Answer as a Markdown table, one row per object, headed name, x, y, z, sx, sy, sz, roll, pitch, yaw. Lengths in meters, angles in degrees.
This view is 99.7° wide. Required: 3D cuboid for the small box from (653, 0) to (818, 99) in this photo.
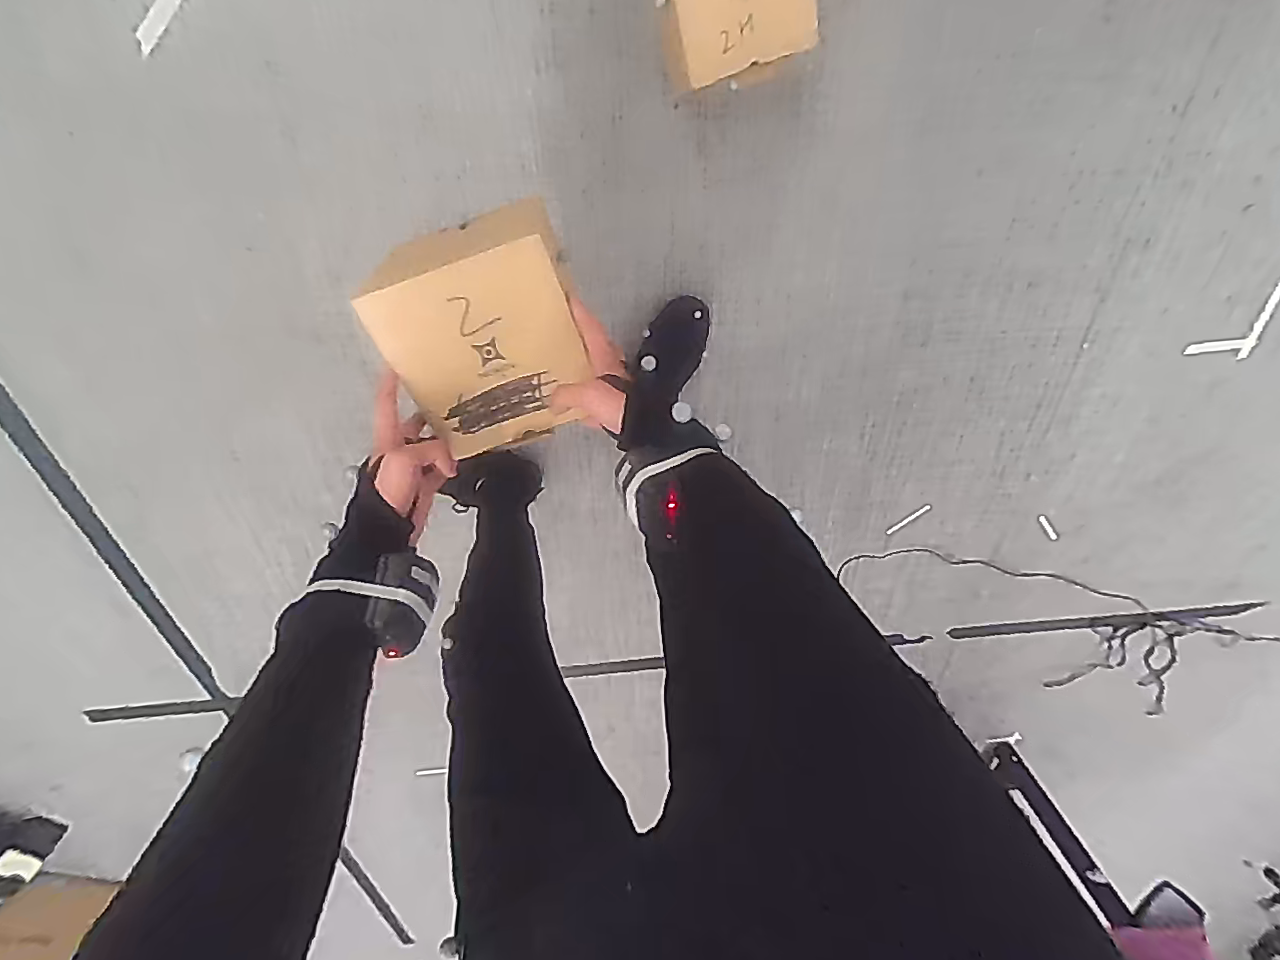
| name | x | y | z | sx | sy | sz | roll | pitch | yaw |
| --- | --- | --- | --- | --- | --- | --- | --- | --- | --- |
| small box | 0.113 | -0.620 | 0.697 | 0.168 | 0.176 | 0.179 | -17 | 123 | 4 |
